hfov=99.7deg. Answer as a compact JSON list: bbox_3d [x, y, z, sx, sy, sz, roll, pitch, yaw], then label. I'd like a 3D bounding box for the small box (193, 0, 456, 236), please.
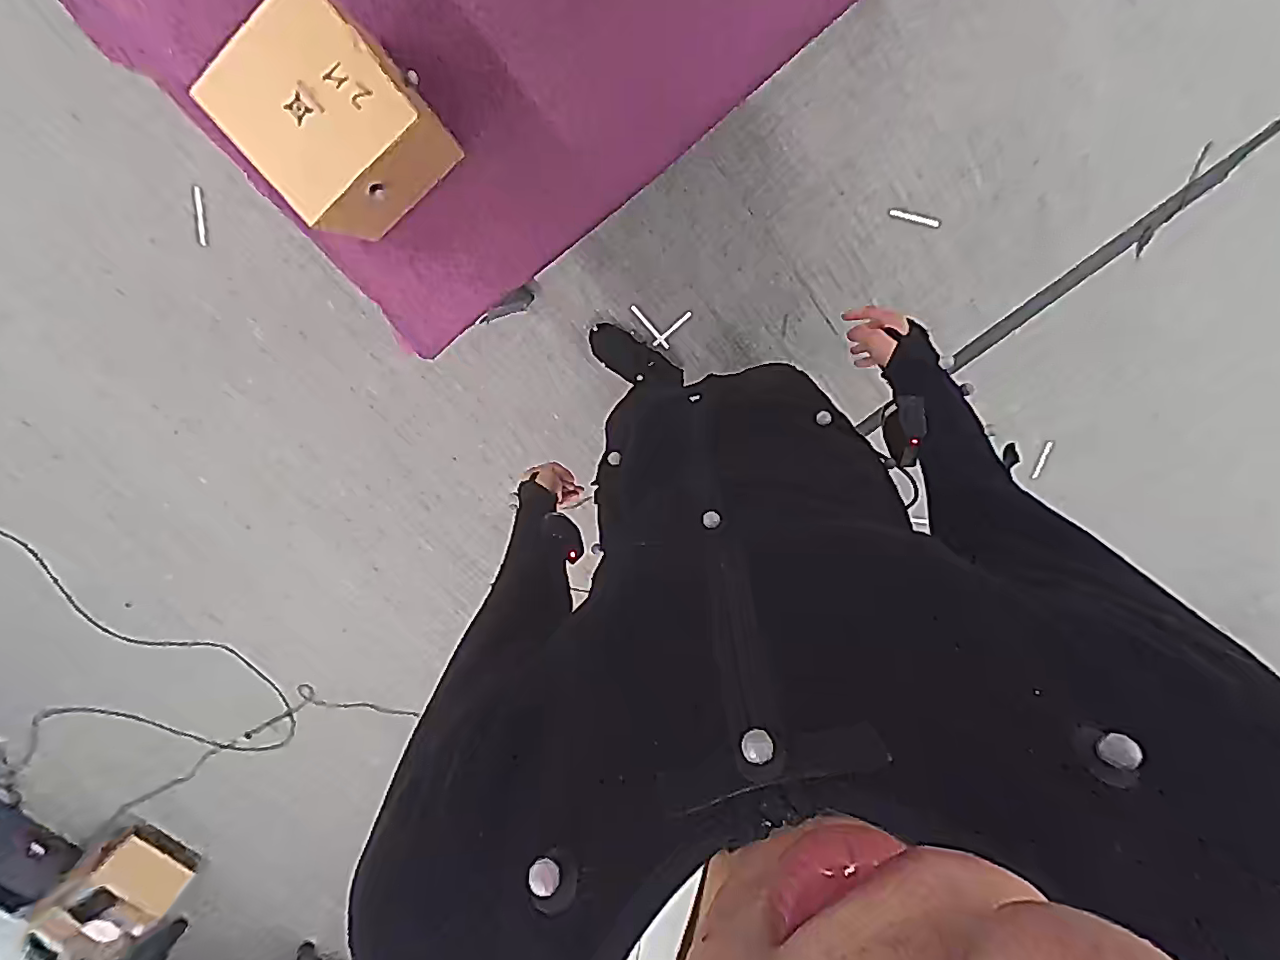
[{"bbox_3d":[-0.352,-0.417,0.643,0.179,0.176,0.168,-37,106,10],"label":"small box"}]
